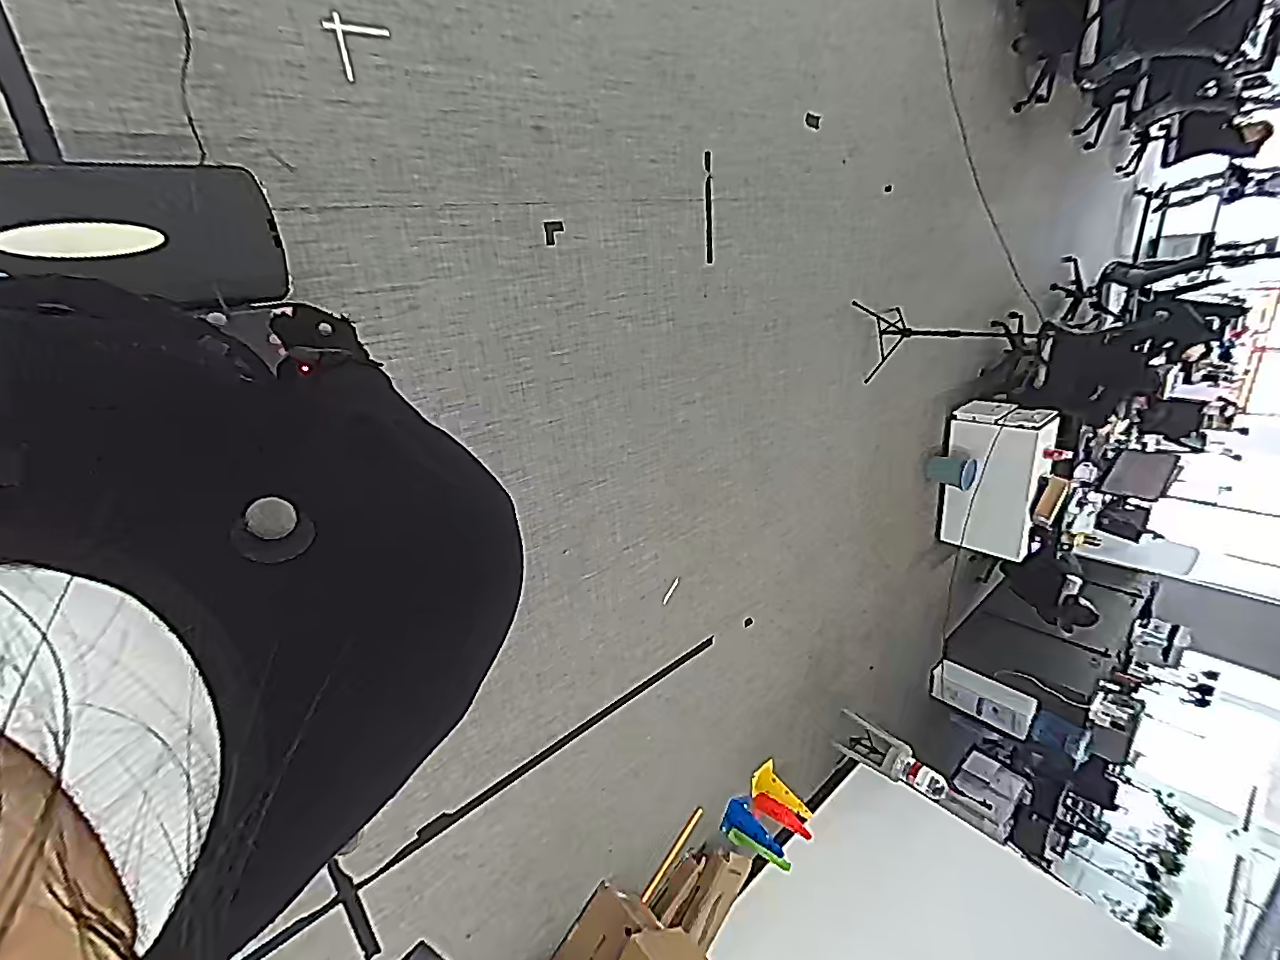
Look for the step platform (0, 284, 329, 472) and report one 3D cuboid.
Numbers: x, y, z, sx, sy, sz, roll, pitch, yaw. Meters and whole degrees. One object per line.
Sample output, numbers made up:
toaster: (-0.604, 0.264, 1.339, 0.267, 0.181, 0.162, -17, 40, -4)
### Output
step platform: (-1.051, -0.230, 1.137, 0.684, 0.204, 0.286, -22, 115, -34)
